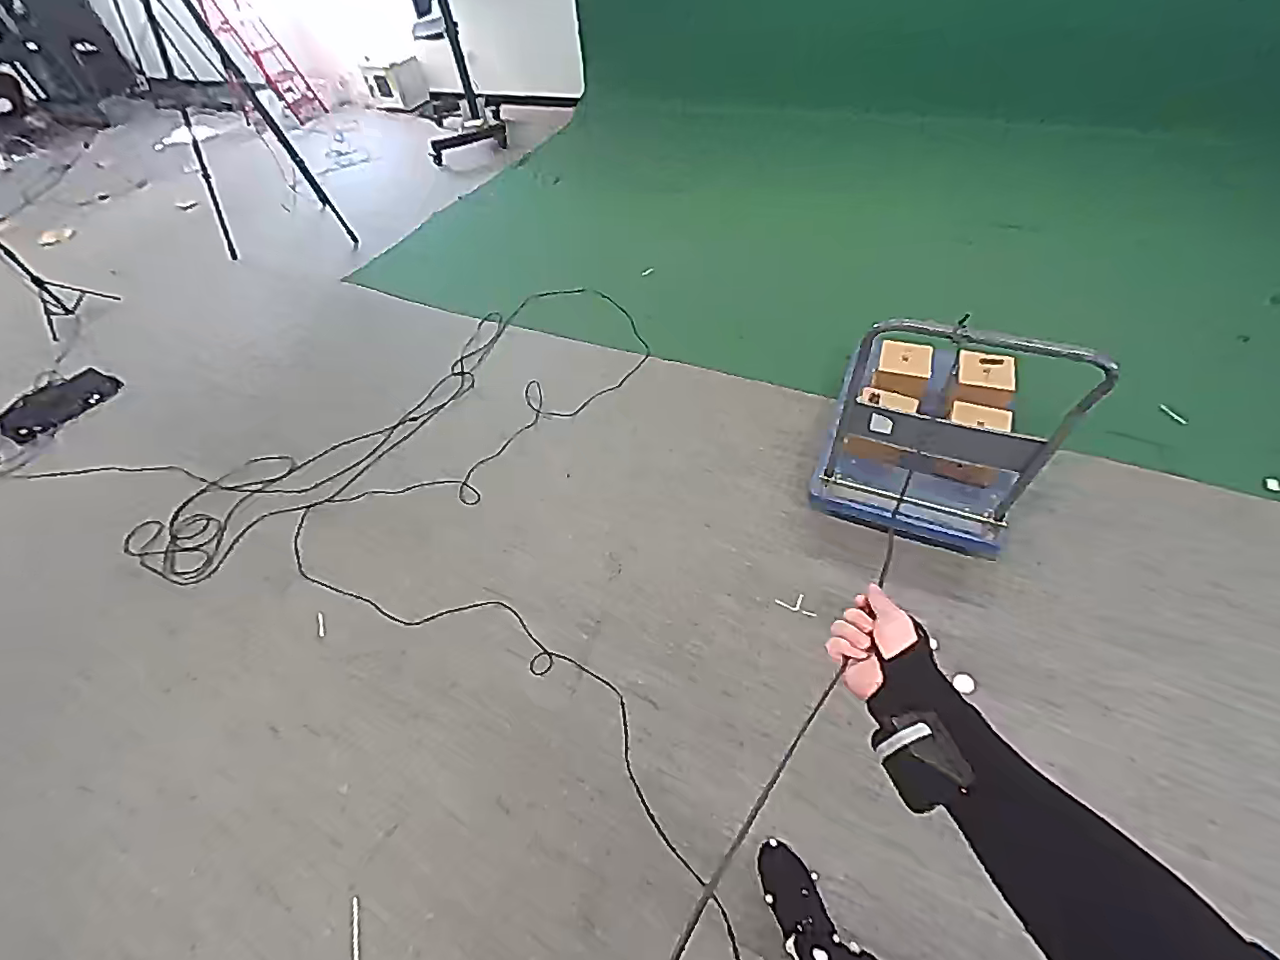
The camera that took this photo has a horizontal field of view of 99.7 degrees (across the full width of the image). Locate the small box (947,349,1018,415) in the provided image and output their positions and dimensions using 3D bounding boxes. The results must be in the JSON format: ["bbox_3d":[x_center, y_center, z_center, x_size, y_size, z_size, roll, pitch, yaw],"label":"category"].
[{"bbox_3d":[1.169,-0.319,1.853,0.168,0.176,0.179,13,55,18],"label":"small box"}]

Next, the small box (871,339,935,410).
[{"bbox_3d":[0.935,-0.373,1.929,0.168,0.176,0.179,14,54,17],"label":"small box"}]

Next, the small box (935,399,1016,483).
[{"bbox_3d":[1.056,-0.122,1.708,0.168,0.176,0.179,17,56,20],"label":"small box"}]
